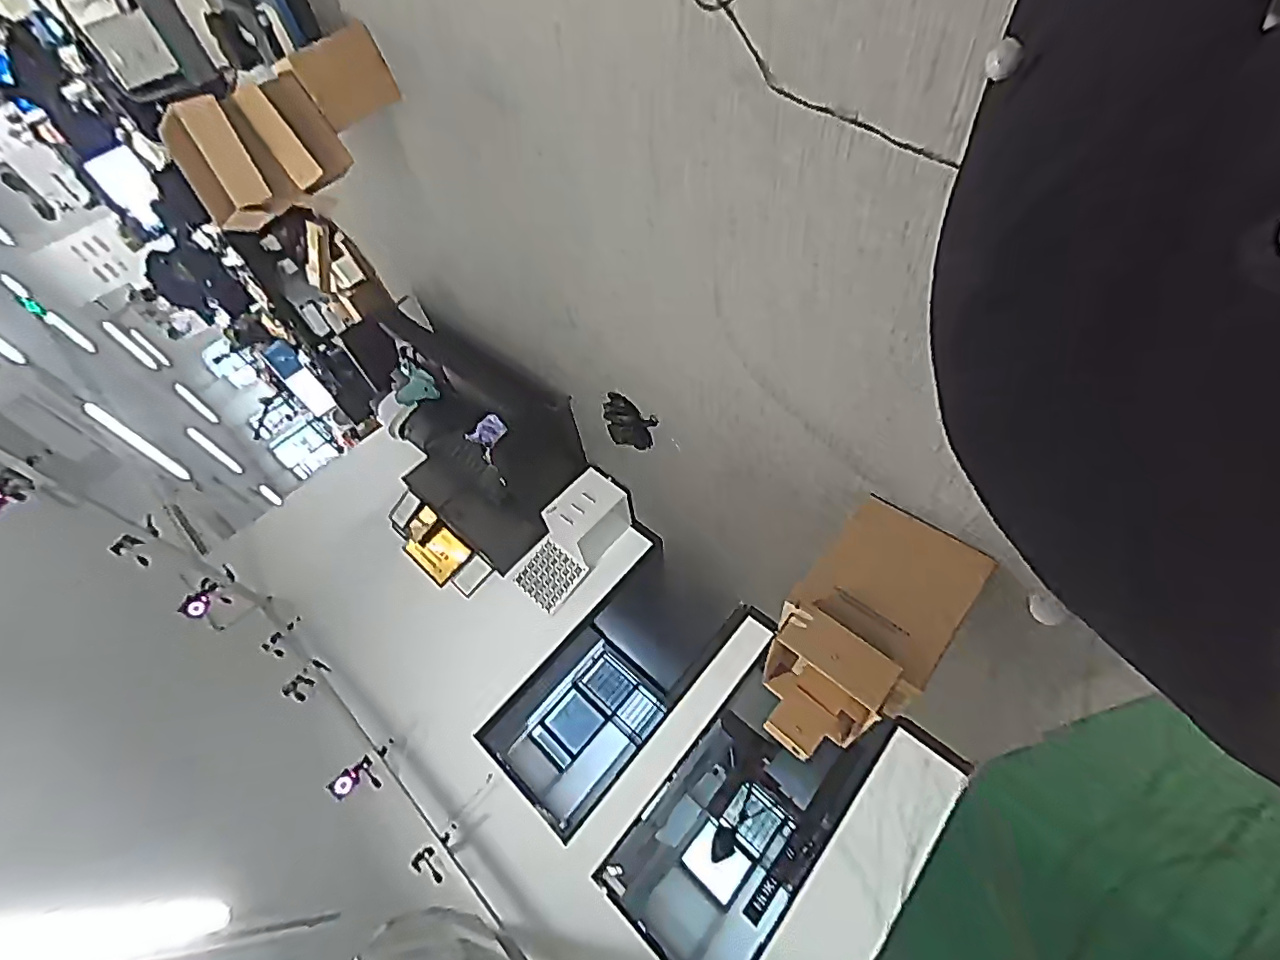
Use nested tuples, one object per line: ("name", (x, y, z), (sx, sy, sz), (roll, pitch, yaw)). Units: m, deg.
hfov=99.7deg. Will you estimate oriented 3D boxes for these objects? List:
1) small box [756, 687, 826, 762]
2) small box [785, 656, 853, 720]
("small box", (0.549, 0.886, 1.963), (0.179, 0.176, 0.168), (38, 158, 26))
("small box", (0.662, 0.783, 2.022), (0.179, 0.176, 0.168), (36, 159, 28))
